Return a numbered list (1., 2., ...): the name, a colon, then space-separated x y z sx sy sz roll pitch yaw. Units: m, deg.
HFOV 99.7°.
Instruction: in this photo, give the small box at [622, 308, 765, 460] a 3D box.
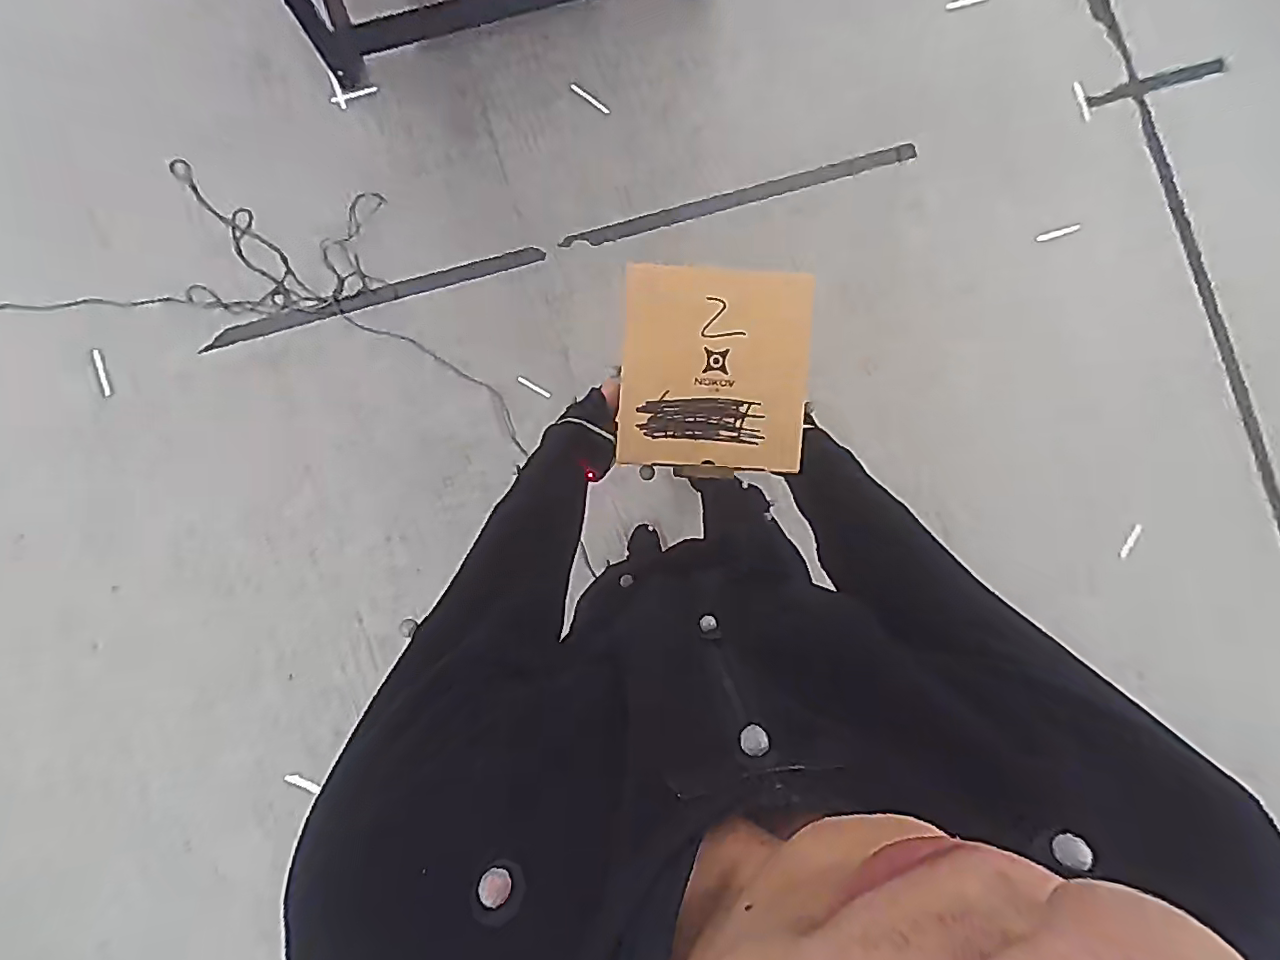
1. small box: 0.060 -0.119 0.714 0.168 0.176 0.179 1 97 -1
